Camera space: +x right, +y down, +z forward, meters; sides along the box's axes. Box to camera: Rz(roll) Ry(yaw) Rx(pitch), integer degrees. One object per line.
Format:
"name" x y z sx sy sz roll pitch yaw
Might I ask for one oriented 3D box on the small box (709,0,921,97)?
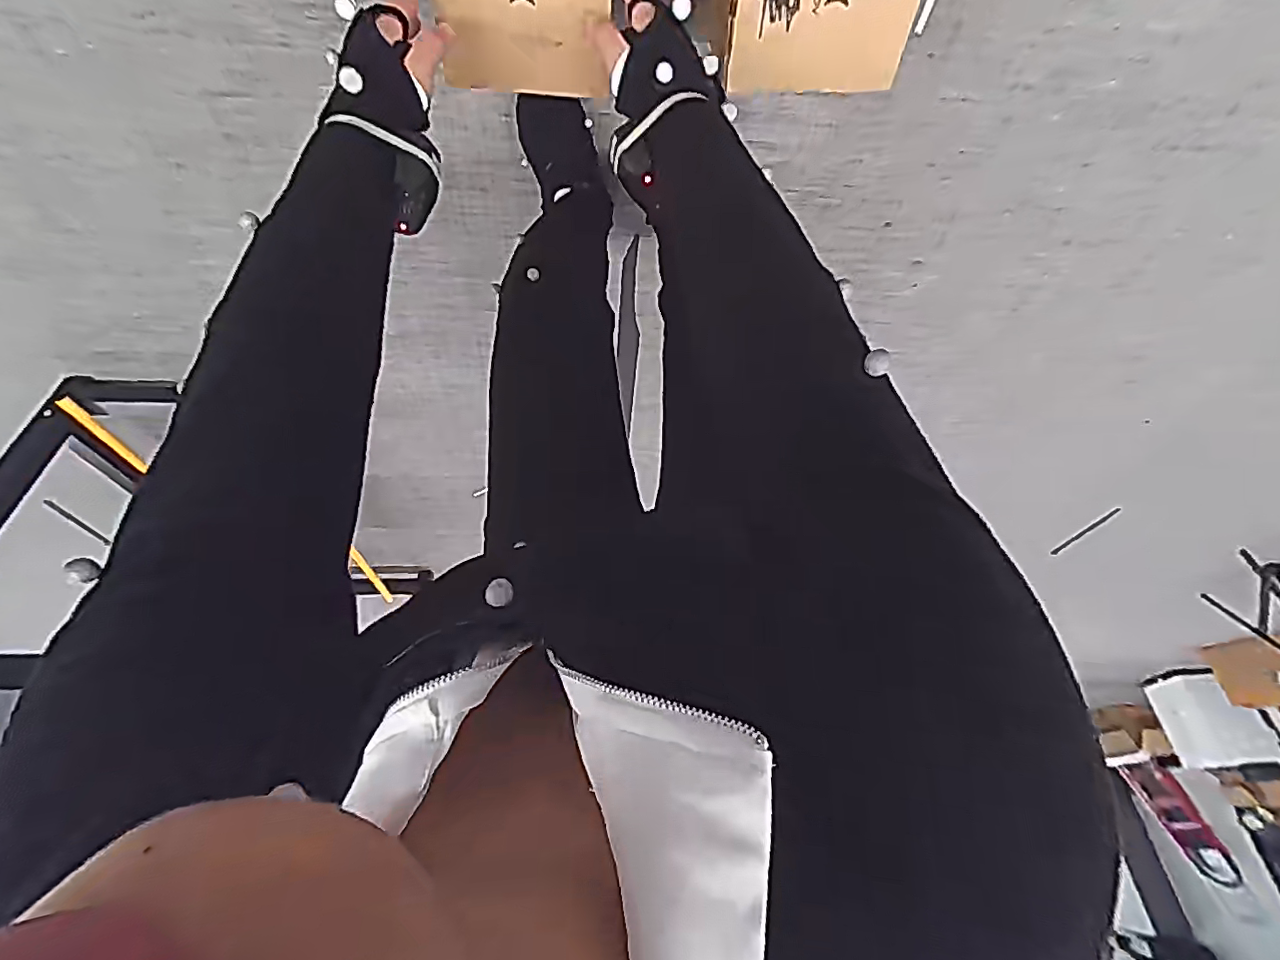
"small box" 0.168 -0.505 0.530 0.179 0.176 0.168 -1 146 -2

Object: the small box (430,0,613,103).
"small box" -0.108 -0.503 0.520 0.168 0.176 0.179 2 147 -4
